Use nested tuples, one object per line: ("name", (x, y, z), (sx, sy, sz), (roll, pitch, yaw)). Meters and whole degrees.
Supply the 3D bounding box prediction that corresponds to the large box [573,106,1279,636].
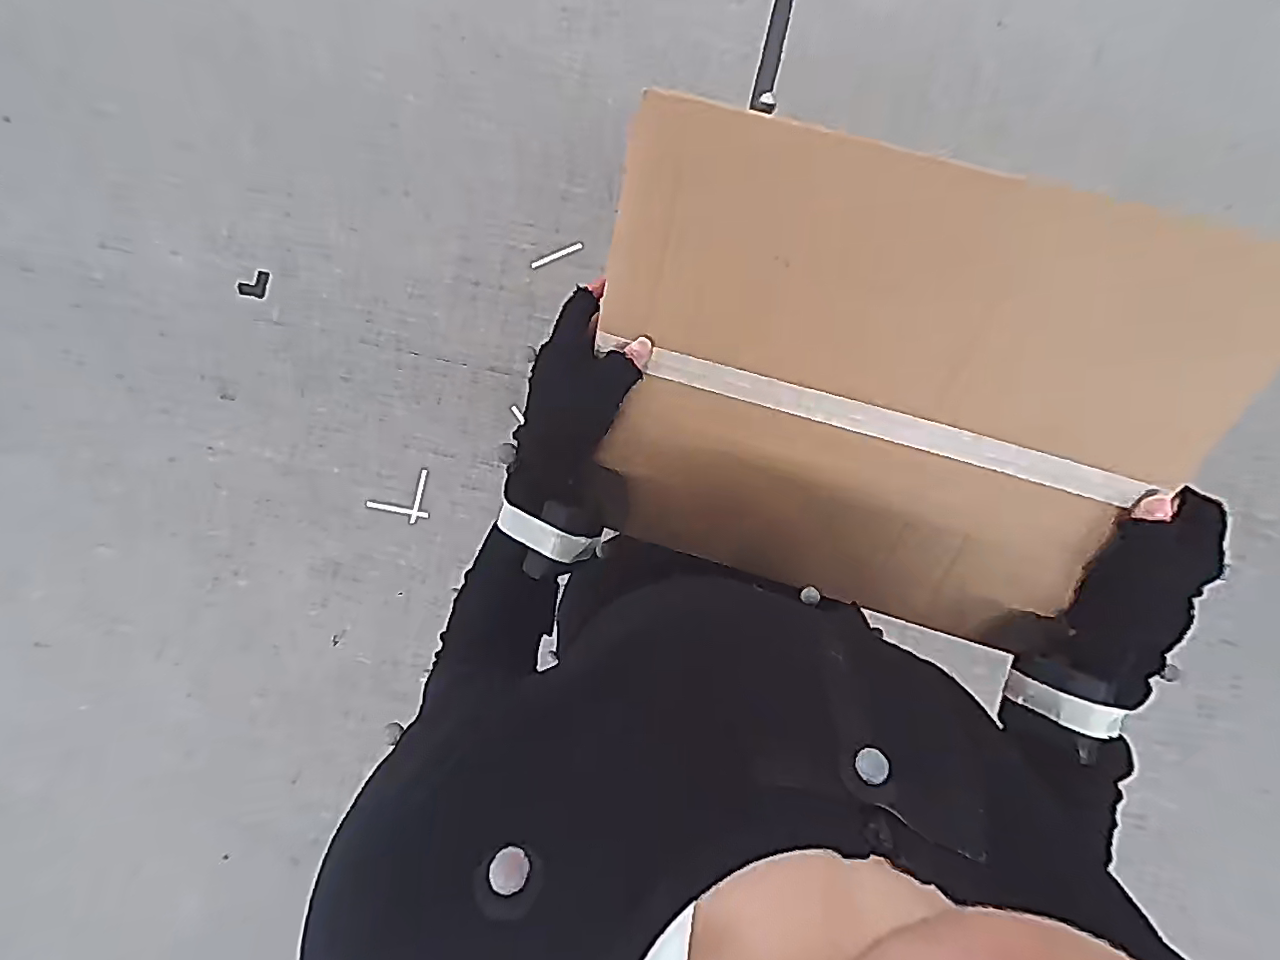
("large box", (0.186, -0.118, 0.522), (0.408, 0.320, 0.320), (17, 121, 4))
